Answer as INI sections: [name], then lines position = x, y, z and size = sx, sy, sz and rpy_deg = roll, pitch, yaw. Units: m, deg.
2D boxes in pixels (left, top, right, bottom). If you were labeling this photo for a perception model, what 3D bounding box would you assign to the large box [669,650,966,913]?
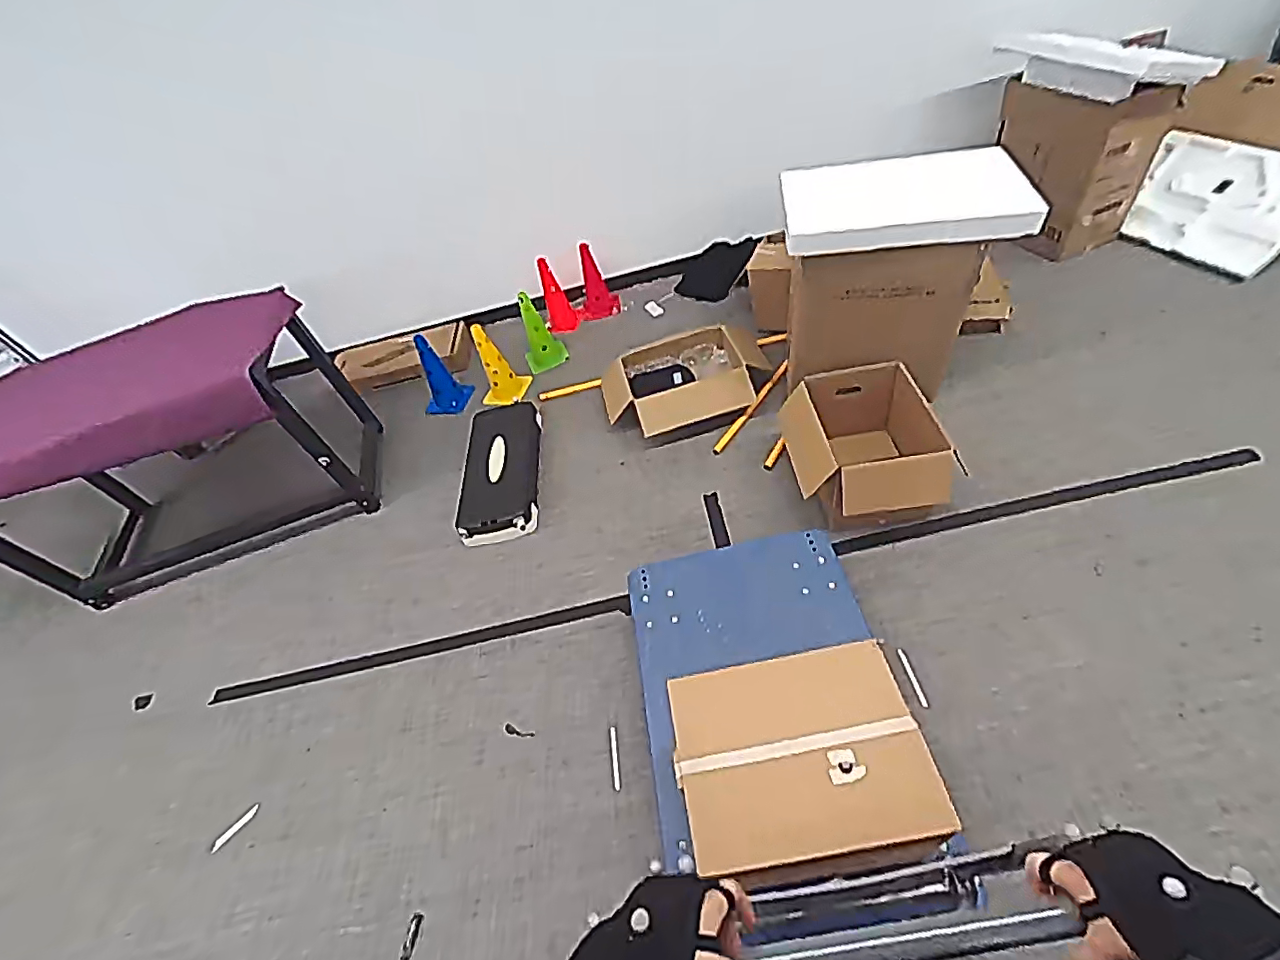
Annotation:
[large box]
position = 0.290, 0.562, 1.003
size = 0.408, 0.320, 0.320
rpy_deg = -12, 47, 3
